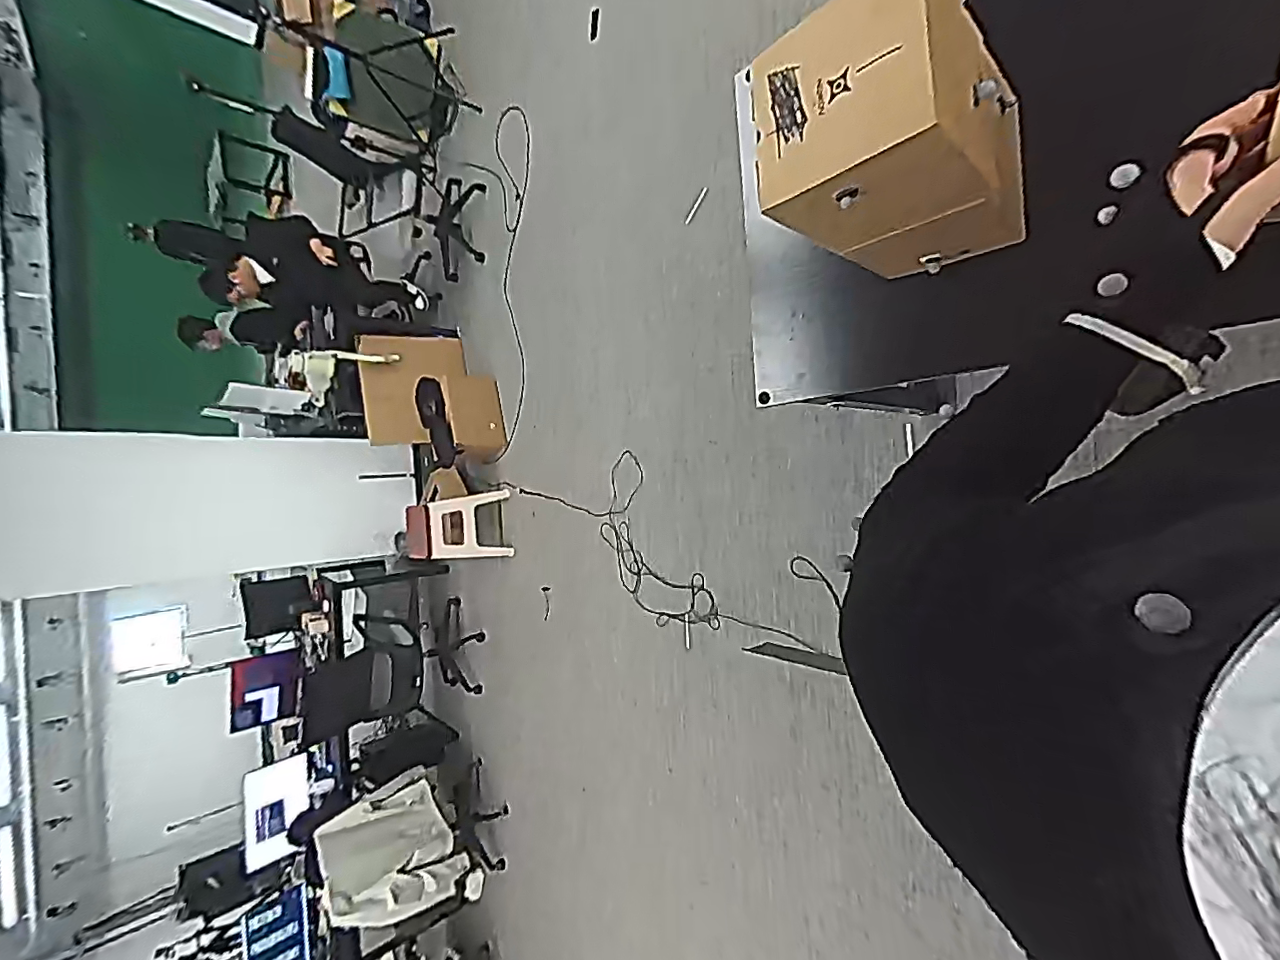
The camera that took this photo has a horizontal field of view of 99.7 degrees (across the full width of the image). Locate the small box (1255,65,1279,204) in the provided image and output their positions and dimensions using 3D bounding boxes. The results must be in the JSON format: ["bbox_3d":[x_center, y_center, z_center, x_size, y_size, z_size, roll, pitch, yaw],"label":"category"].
[{"bbox_3d":[0.521,-0.283,0.332,0.168,0.176,0.179,13,107,46],"label":"small box"}]

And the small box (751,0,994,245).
[{"bbox_3d":[0.239,-0.370,0.563,0.179,0.176,0.168,-6,88,48],"label":"small box"}]

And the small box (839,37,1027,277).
[{"bbox_3d":[0.361,-0.378,0.673,0.168,0.176,0.179,-4,90,48],"label":"small box"}]
